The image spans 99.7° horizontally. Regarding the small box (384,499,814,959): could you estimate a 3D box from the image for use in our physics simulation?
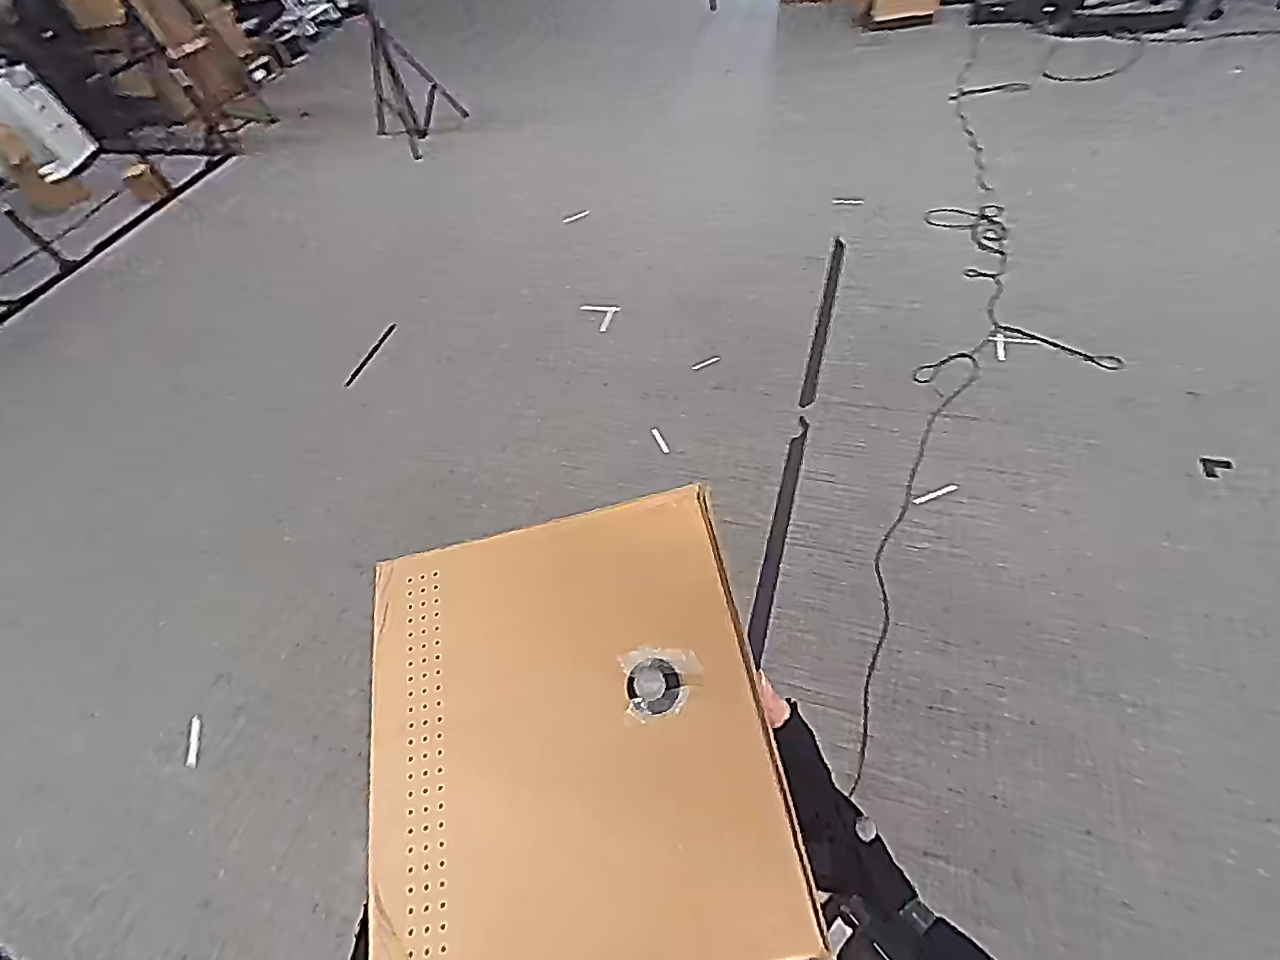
[{"bbox_3d":[-0.020,0.137,0.303,0.176,0.168,0.179,-14,63,6],"label":"small box"}]
